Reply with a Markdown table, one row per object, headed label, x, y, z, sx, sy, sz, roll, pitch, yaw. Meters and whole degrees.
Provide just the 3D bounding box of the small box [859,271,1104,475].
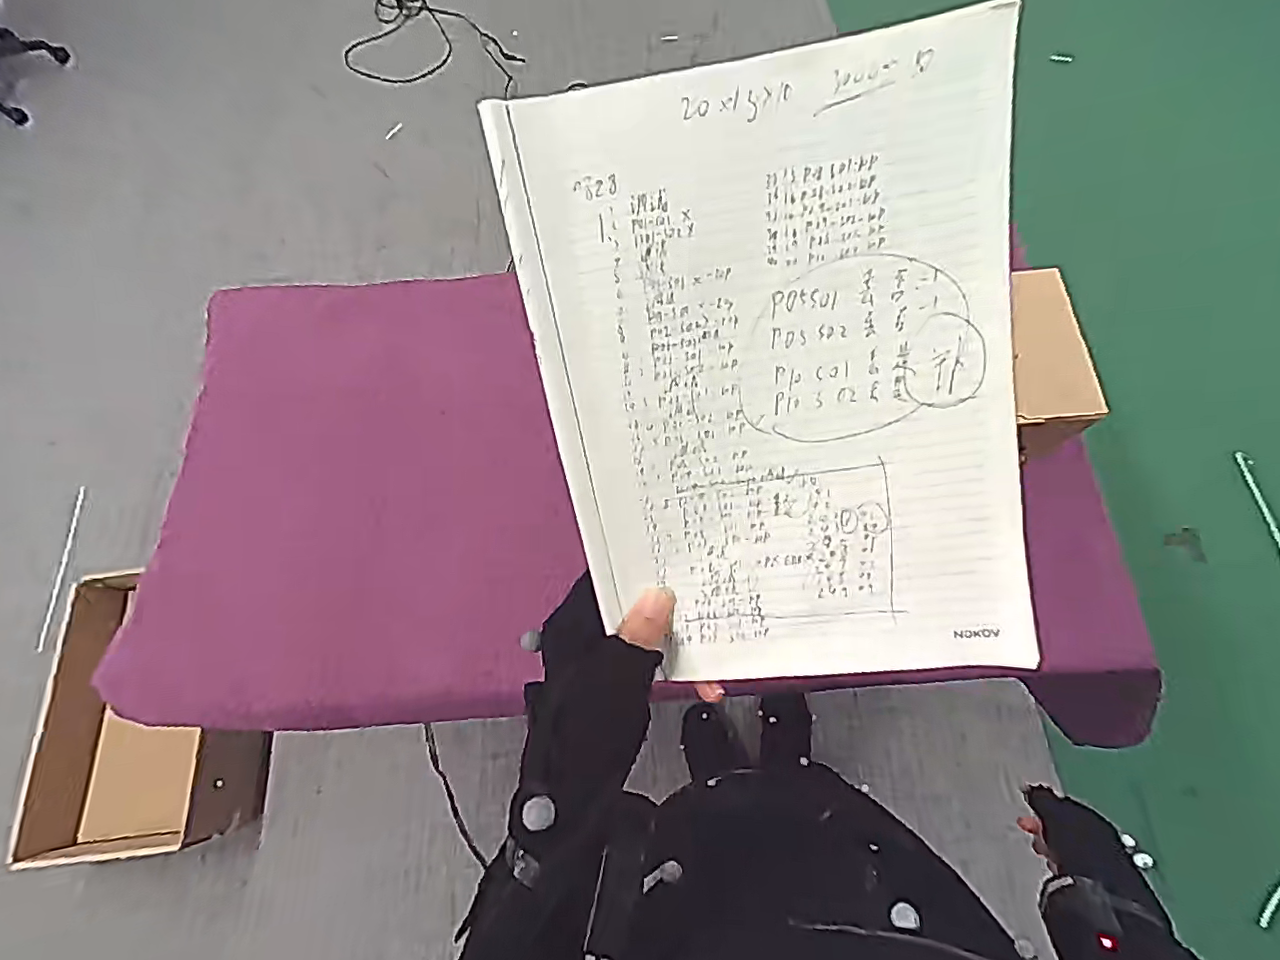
| label | x | y | z | sx | sy | sz | roll | pitch | yaw |
| --- | --- | --- | --- | --- | --- | --- | --- | --- | --- |
| small box | 0.369 | -0.109 | 0.623 | 0.168 | 0.176 | 0.179 | -3 | 70 | 4 |
